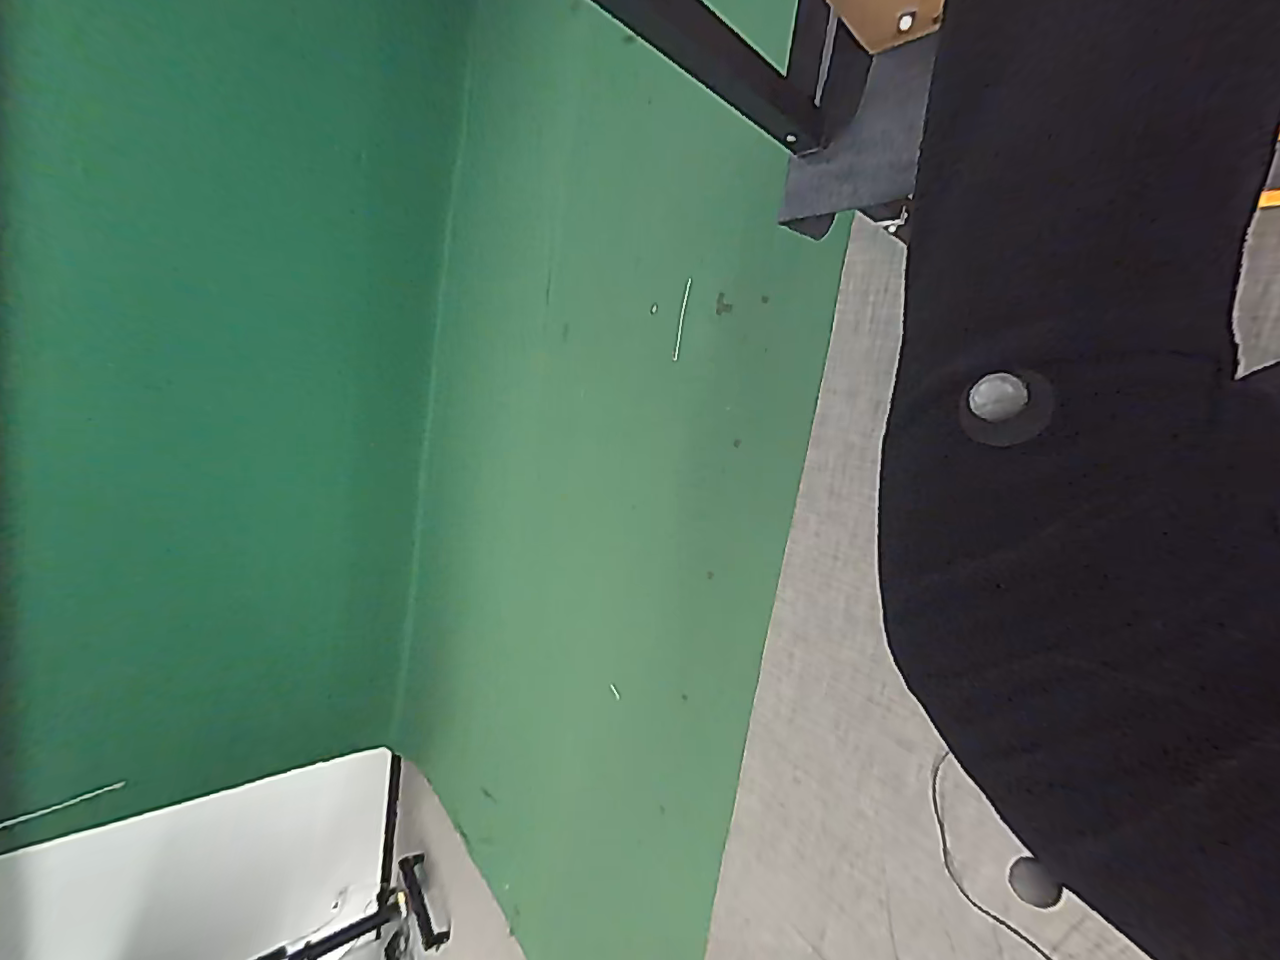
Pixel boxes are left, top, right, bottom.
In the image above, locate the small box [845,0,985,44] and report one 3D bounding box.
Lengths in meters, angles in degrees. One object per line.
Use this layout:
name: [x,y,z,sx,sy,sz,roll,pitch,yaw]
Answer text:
small box: [0.360,-0.729,0.700,0.168,0.176,0.179,17,102,47]
